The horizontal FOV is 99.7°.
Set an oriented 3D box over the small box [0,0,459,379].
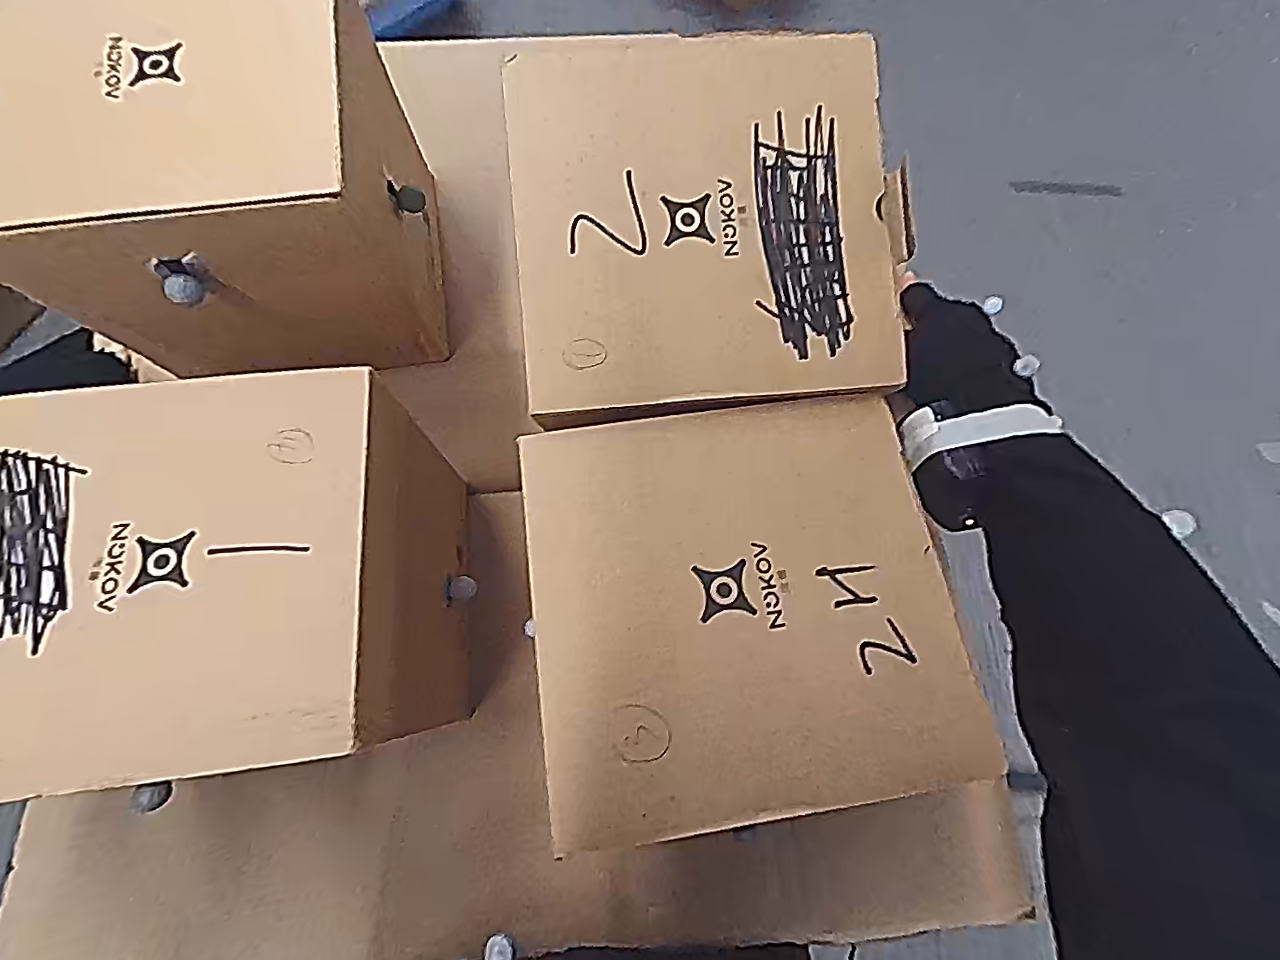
[{"bbox_3d":[-0.221,-0.177,0.339,0.179,0.176,0.168,-7,77,-3],"label":"small box"}]
